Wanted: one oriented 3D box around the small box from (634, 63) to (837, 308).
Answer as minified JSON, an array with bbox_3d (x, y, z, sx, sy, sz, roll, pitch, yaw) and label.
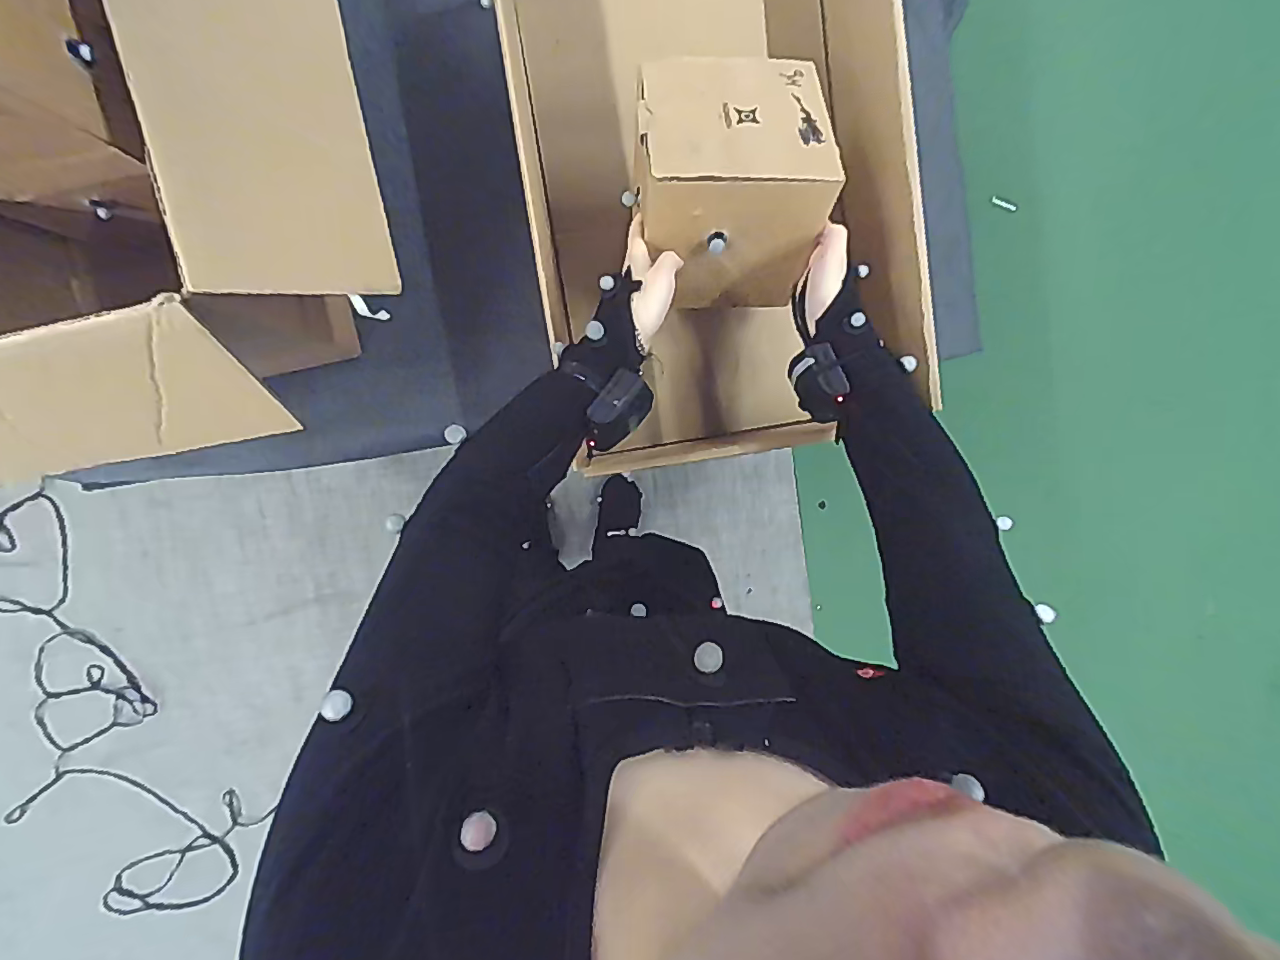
[{"bbox_3d":[0.083,-0.301,0.576,0.179,0.176,0.168,-2,69,-3],"label":"small box"}]
